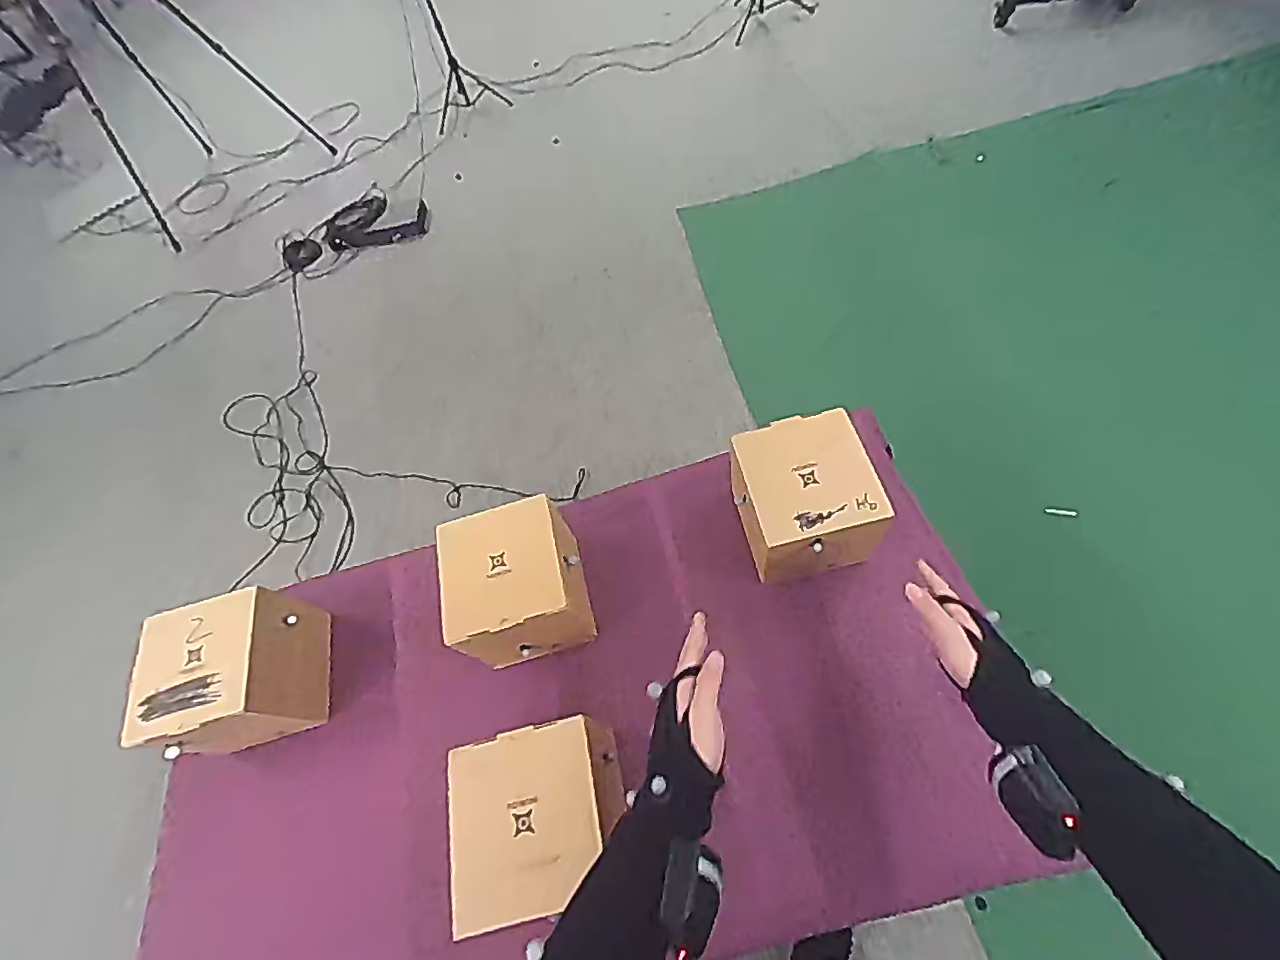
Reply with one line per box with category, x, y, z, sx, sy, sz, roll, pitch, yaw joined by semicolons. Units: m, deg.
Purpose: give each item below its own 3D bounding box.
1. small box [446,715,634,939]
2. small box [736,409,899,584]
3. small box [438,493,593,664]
small box;-0.112;0.395;0.634;0.168;0.176;0.179;-15;59;2
small box;0.238;0.029;0.779;0.168;0.176;0.179;-14;60;3
small box;-0.176;0.148;0.785;0.168;0.176;0.179;-16;60;0
